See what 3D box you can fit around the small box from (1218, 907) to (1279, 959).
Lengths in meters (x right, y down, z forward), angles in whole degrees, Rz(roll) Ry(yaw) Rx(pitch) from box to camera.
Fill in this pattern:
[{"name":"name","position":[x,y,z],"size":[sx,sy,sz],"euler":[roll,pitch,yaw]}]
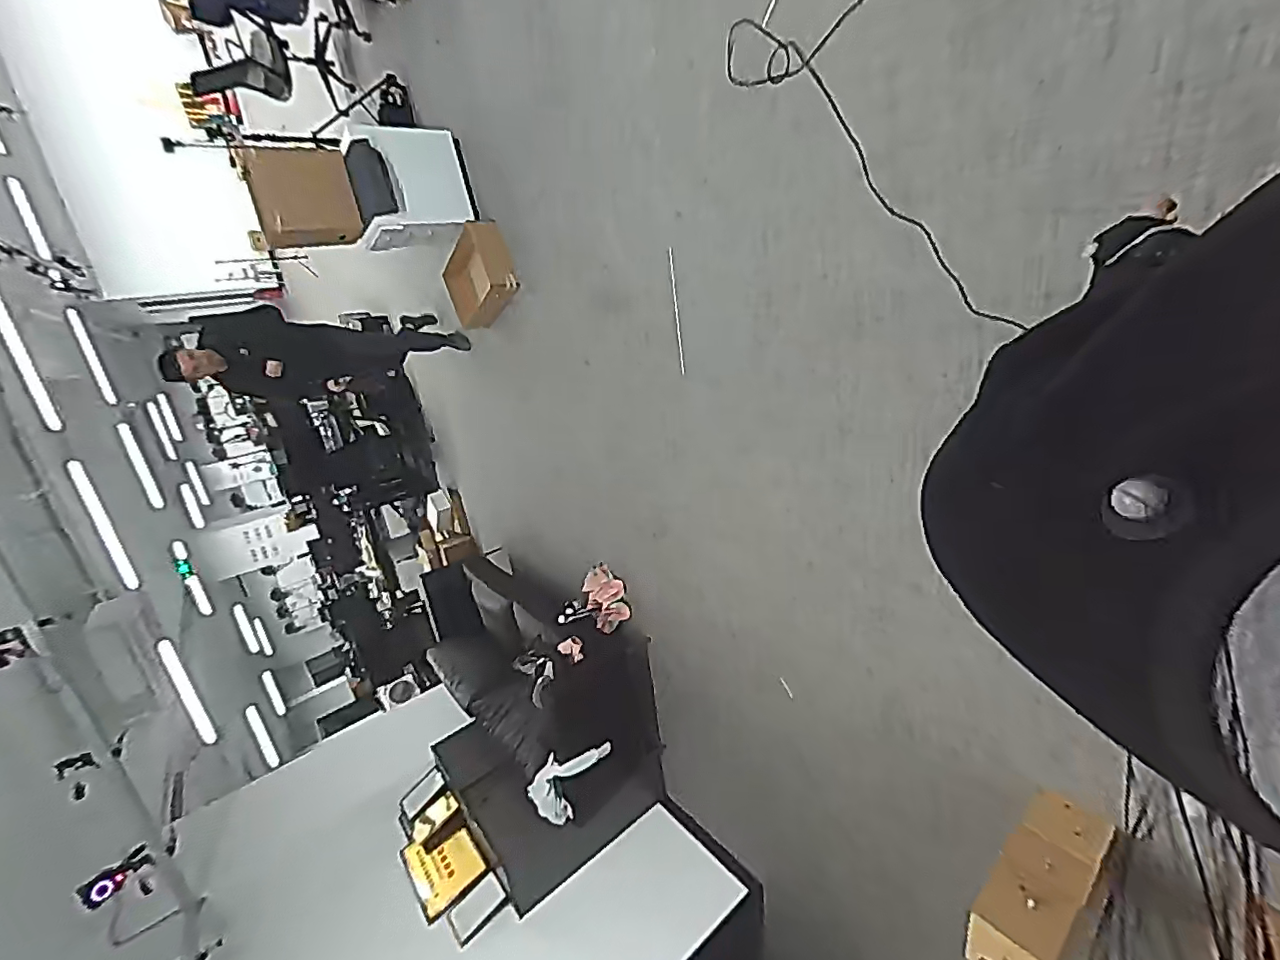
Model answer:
[{"name":"small box","position":[1.406,1.098,1.189],"size":[0.179,0.176,0.168],"euler":[8,113,51]}]

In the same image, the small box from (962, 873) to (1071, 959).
[{"name":"small box","position":[0.906,1.116,1.302],"size":[0.168,0.176,0.179],"euler":[17,119,48]}]

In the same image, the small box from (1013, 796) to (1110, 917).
[{"name":"small box","position":[1.162,1.025,1.488],"size":[0.168,0.176,0.179],"euler":[17,120,49]}]
